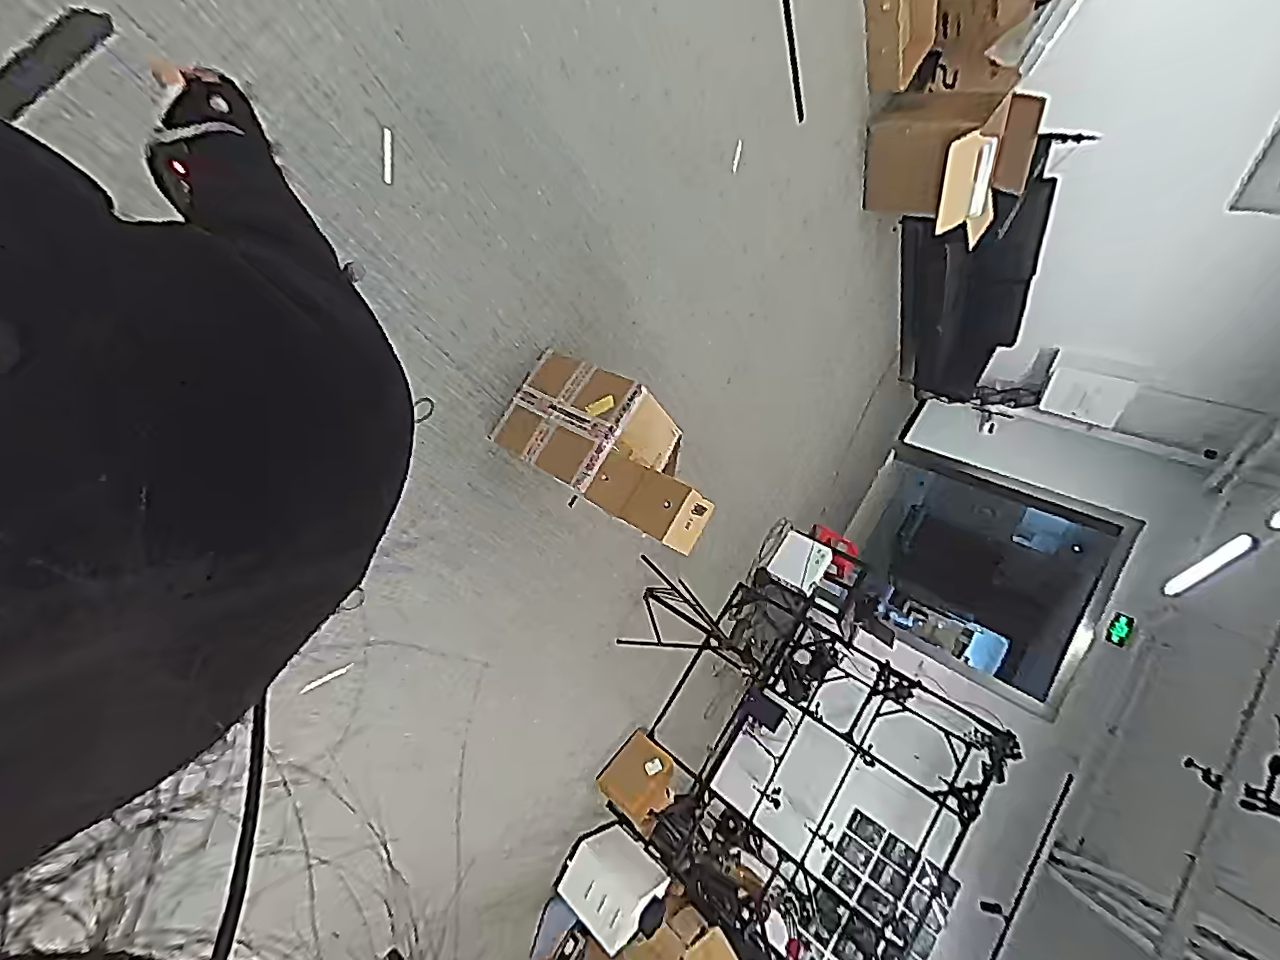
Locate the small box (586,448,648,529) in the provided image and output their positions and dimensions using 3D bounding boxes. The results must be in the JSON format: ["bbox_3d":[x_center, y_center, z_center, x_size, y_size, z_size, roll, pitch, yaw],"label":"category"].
[{"bbox_3d":[-0.046,0.025,1.697,0.168,0.176,0.179,34,85,-53],"label":"small box"}]

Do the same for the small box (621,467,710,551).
[{"bbox_3d":[0.071,0.082,1.594,0.168,0.176,0.179,34,85,-53],"label":"small box"}]
